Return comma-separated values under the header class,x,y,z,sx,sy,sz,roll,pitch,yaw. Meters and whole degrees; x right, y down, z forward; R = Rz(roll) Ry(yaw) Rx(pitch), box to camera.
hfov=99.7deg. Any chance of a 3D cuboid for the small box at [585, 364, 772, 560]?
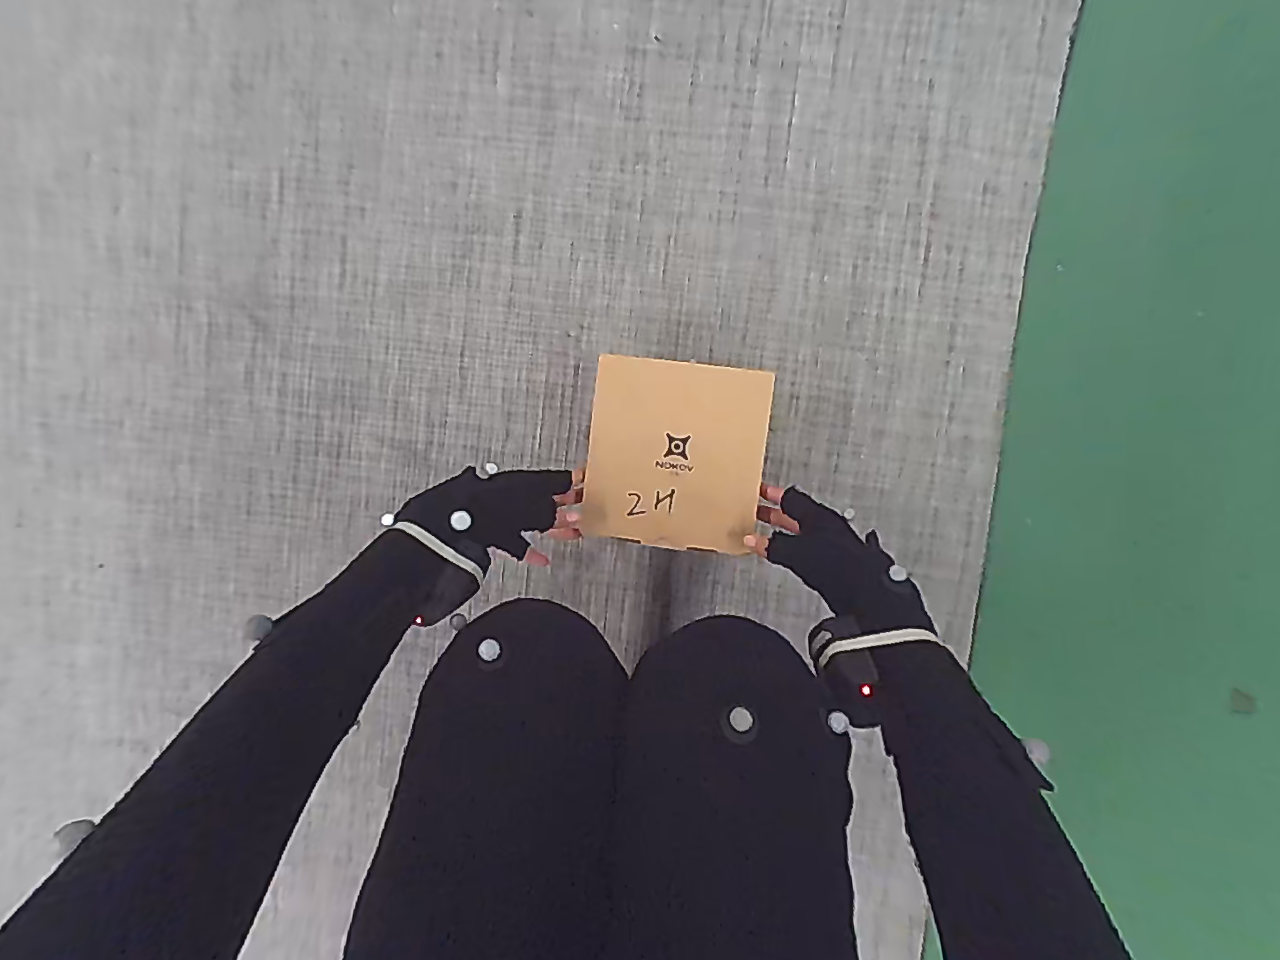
class,x,y,z,sx,sy,sz,roll,pitch,yaw
small box,0.043,-0.023,0.602,0.168,0.176,0.179,7,96,6
